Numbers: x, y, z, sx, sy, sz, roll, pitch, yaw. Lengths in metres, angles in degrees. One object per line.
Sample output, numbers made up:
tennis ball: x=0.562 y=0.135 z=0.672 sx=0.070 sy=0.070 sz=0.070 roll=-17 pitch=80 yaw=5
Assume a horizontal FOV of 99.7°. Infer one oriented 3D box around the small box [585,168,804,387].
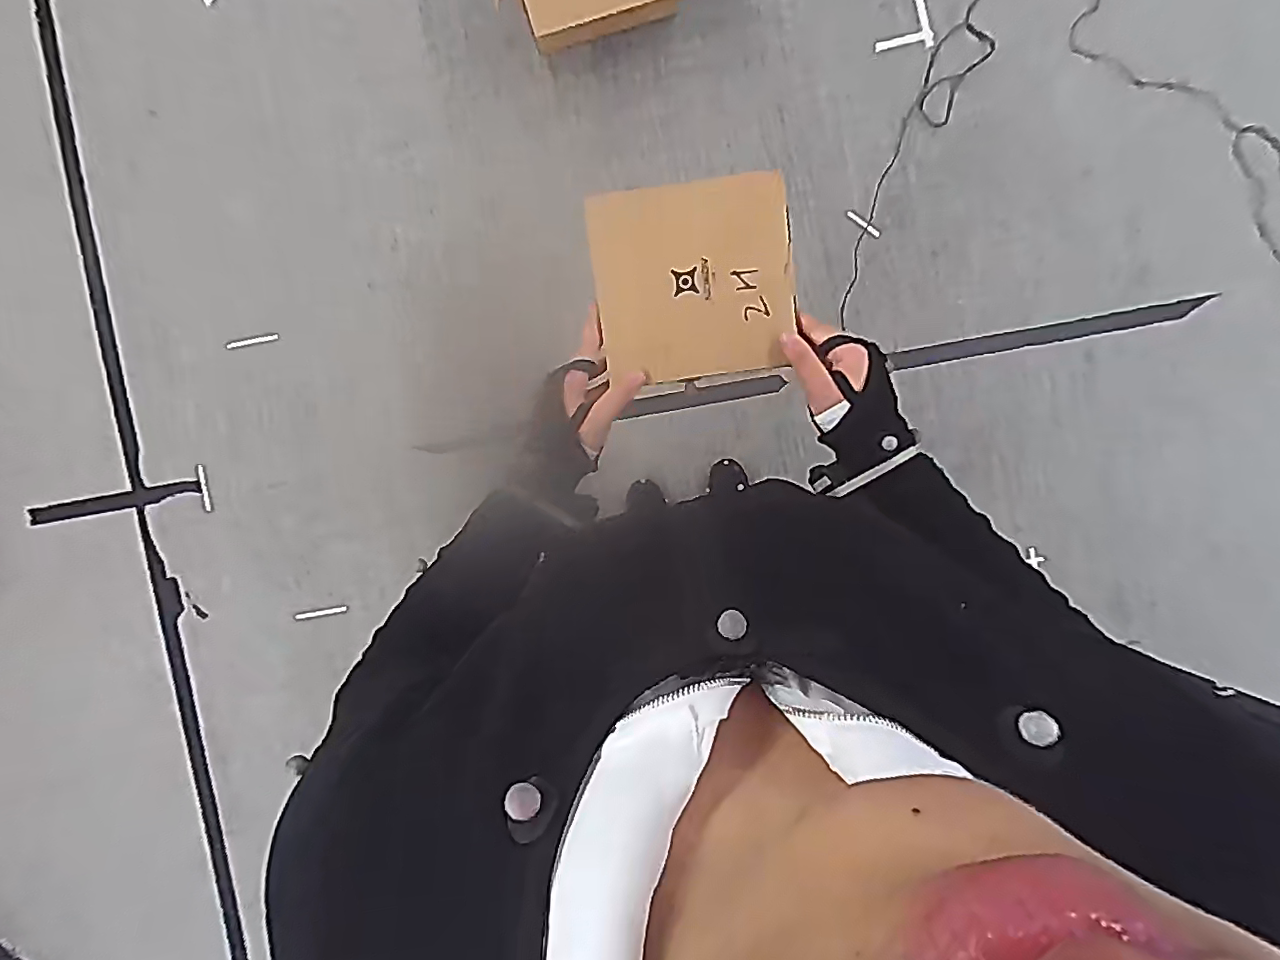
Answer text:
small box: x=0.050 y=-0.184 z=0.543 sx=0.179 sy=0.176 sz=0.168 roll=-8 pitch=101 yaw=1
